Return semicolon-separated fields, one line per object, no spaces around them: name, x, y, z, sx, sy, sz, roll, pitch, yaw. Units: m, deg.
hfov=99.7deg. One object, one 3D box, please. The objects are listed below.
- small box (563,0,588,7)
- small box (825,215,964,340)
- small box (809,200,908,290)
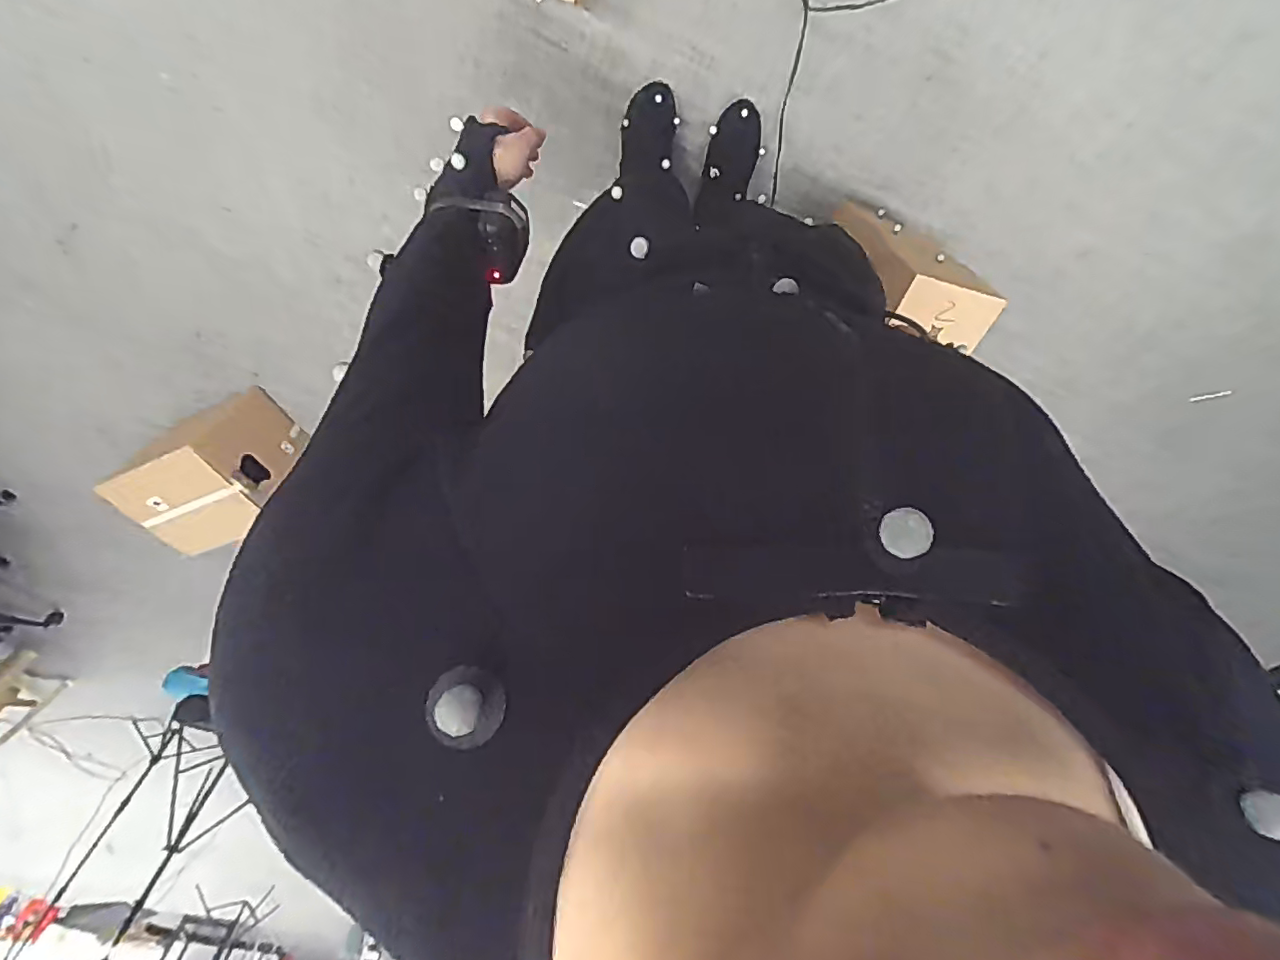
small box;-0.154;-0.942;0.912;0.168;0.176;0.179;17;129;-10
small box;0.504;-0.419;1.105;0.179;0.176;0.168;14;131;-10
small box;0.510;-0.516;1.236;0.179;0.176;0.168;17;129;-10
